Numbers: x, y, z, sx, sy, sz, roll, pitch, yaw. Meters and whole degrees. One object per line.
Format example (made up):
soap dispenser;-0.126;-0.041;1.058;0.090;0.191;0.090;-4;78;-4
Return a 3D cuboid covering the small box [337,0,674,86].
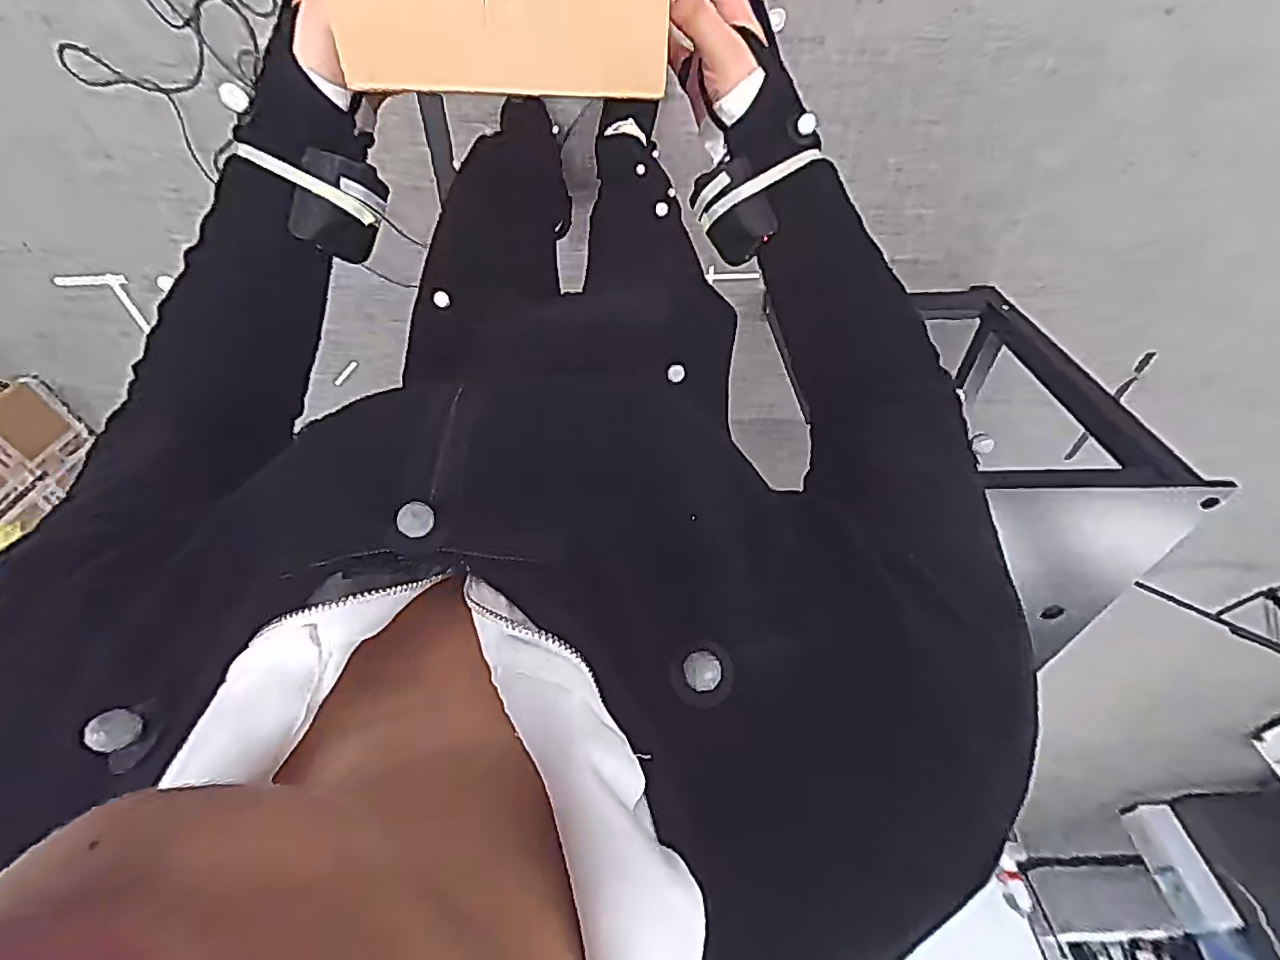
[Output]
small box;-0.067;-0.328;0.288;0.168;0.176;0.179;-1;132;-3
